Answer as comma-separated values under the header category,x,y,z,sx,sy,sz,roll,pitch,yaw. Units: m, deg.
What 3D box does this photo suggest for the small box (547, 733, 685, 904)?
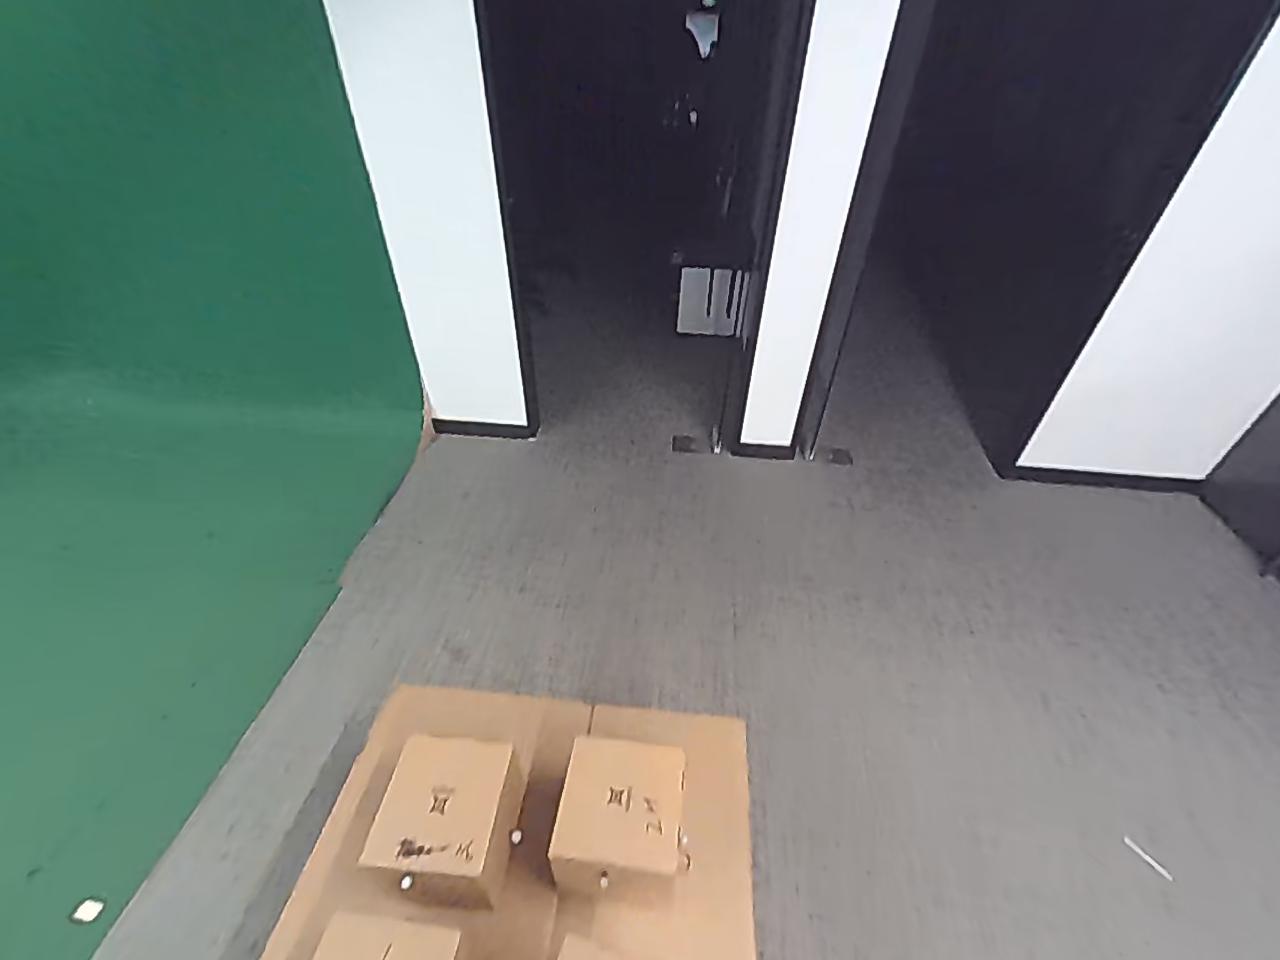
category,x,y,z,sx,sy,sz,roll,pitch,yaw
small box,-0.027,0.516,0.825,0.179,0.176,0.168,5,39,7

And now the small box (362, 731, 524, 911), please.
category,x,y,z,sx,sy,sz,roll,pitch,yaw
small box,-0.280,0.512,0.818,0.168,0.176,0.179,2,38,4

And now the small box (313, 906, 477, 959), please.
category,x,y,z,sx,sy,sz,roll,pitch,yaw
small box,-0.307,0.652,0.647,0.168,0.176,0.179,5,38,5
